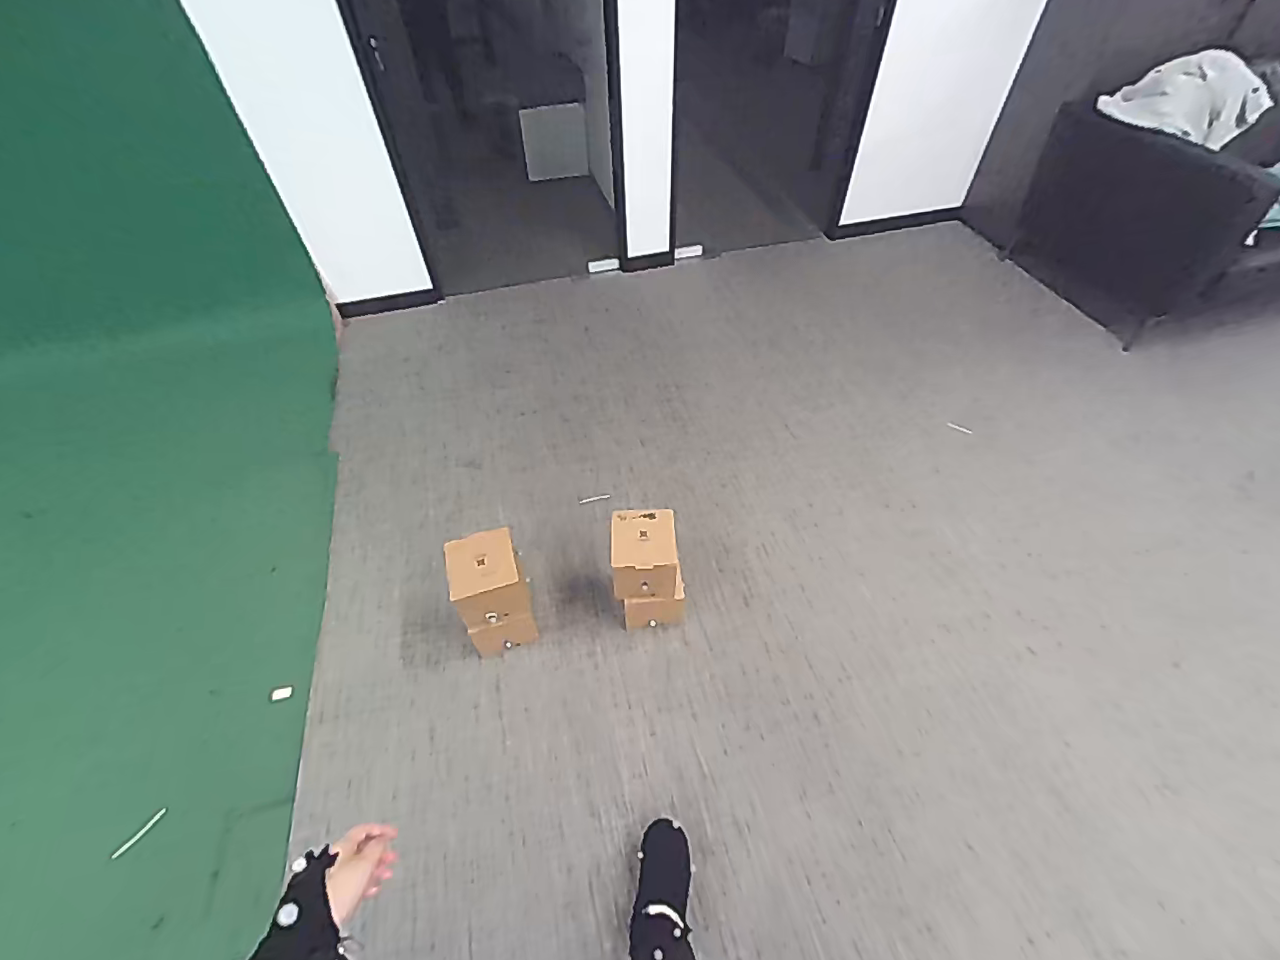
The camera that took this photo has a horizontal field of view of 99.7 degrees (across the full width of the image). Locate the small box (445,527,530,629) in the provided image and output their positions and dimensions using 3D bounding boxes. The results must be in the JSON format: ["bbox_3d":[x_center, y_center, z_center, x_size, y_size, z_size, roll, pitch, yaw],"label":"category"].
[{"bbox_3d":[-0.389,0.253,1.389,0.168,0.176,0.179,-15,51,-11],"label":"small box"}]

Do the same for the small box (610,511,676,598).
[{"bbox_3d":[0.009,0.201,1.426,0.168,0.176,0.179,-1,50,0],"label":"small box"}]

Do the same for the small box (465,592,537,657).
[{"bbox_3d":[-0.392,0.363,1.507,0.168,0.176,0.179,-15,51,-12],"label":"small box"}]

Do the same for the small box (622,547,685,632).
[{"bbox_3d":[0.032,0.313,1.545,0.168,0.176,0.179,-4,50,-3],"label":"small box"}]
